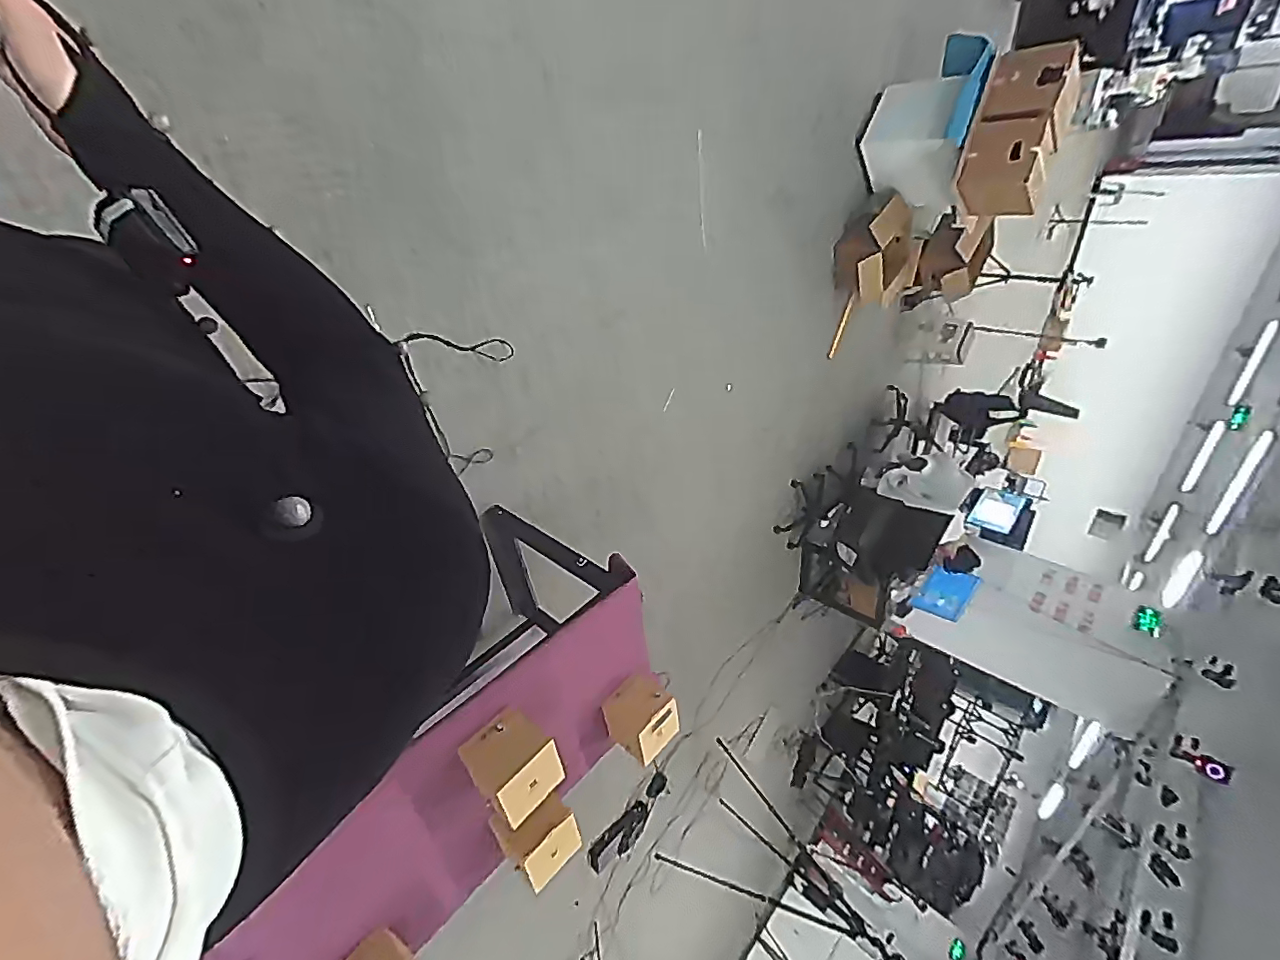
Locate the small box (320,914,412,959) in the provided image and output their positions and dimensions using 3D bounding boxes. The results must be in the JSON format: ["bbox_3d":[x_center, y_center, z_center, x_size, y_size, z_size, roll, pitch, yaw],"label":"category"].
[{"bbox_3d":[-0.629,1.164,1.251,0.168,0.176,0.179,-36,133,-35],"label":"small box"}]

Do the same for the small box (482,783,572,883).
[{"bbox_3d":[-0.314,0.955,1.507,0.168,0.176,0.179,-31,129,-35],"label":"small box"}]

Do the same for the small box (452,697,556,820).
[{"bbox_3d":[-0.334,0.678,1.334,0.168,0.176,0.179,-34,133,-35],"label":"small box"}]
